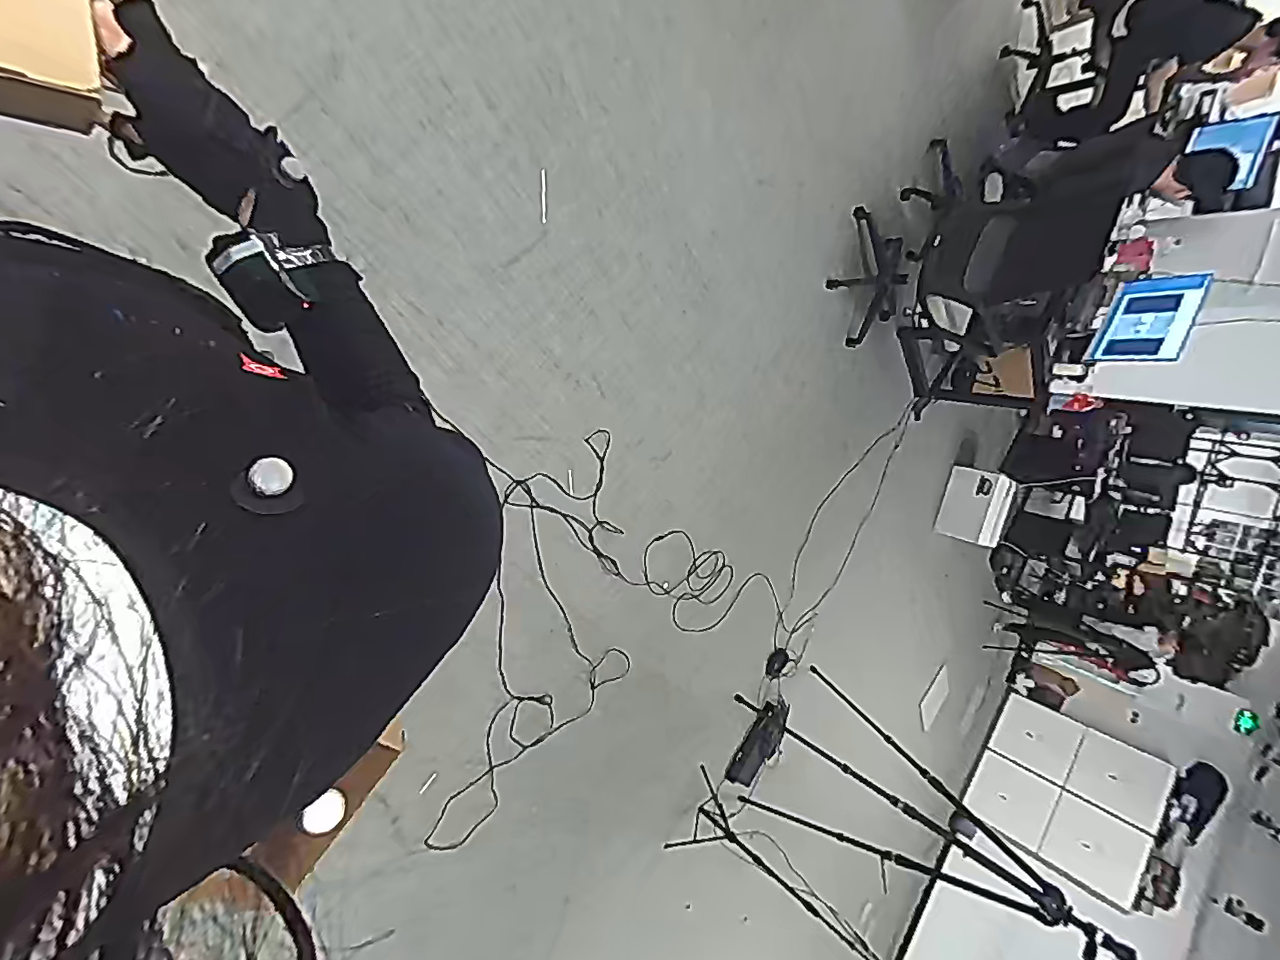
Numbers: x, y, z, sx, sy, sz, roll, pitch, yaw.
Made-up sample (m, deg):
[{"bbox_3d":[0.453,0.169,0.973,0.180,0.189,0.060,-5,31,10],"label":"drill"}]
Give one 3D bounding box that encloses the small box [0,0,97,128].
[{"bbox_3d":[-0.421,-0.318,0.286,0.168,0.176,0.179,-10,114,-45],"label":"small box"}]
